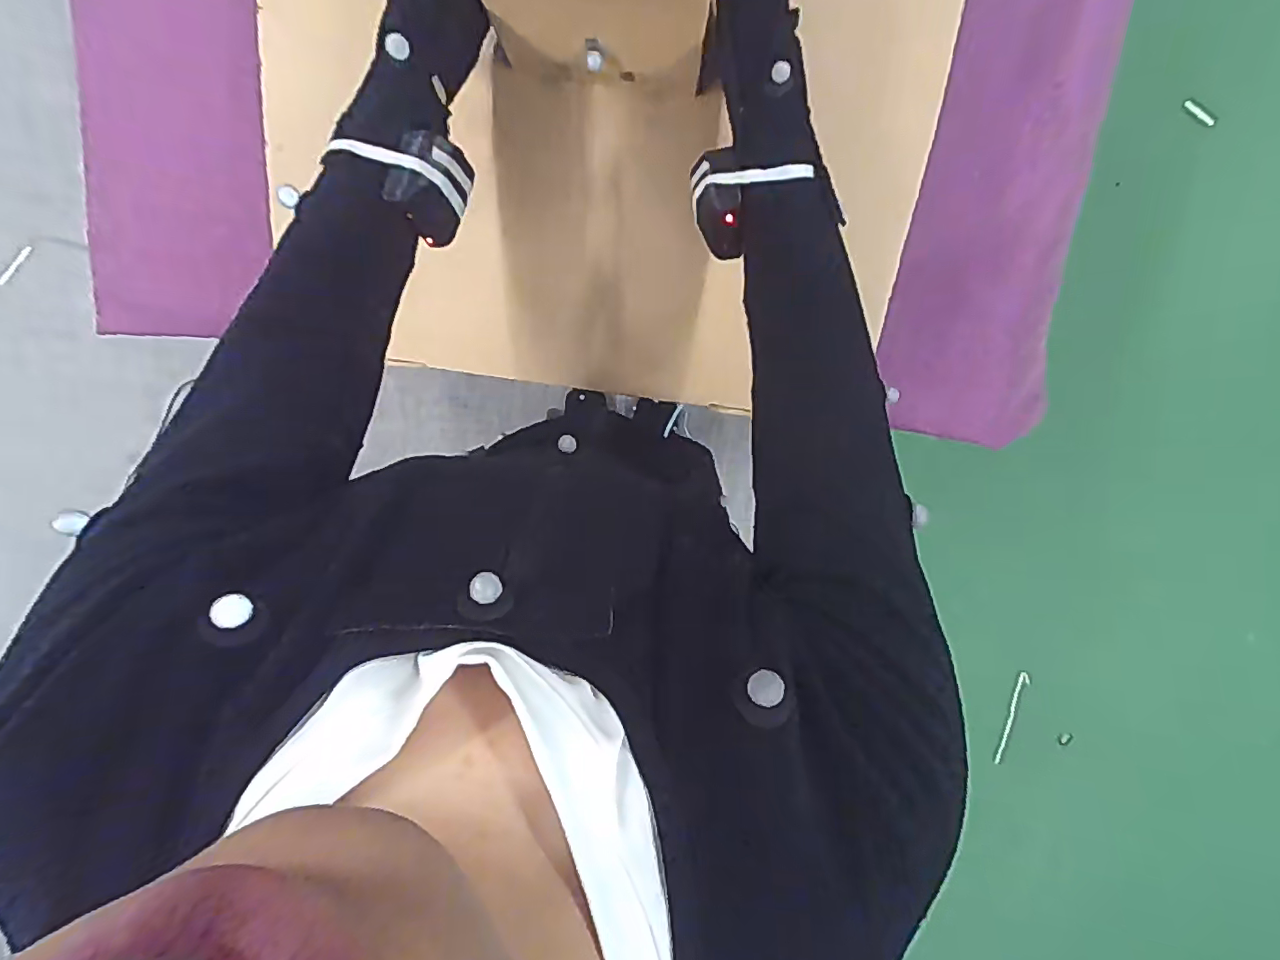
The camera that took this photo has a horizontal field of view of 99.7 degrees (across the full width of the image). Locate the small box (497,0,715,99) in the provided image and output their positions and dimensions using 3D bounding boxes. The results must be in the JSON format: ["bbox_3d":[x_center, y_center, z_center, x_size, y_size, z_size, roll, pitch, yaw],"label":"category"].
[{"bbox_3d":[-0.018,-0.417,0.381,0.168,0.176,0.179,9,101,0],"label":"small box"}]
